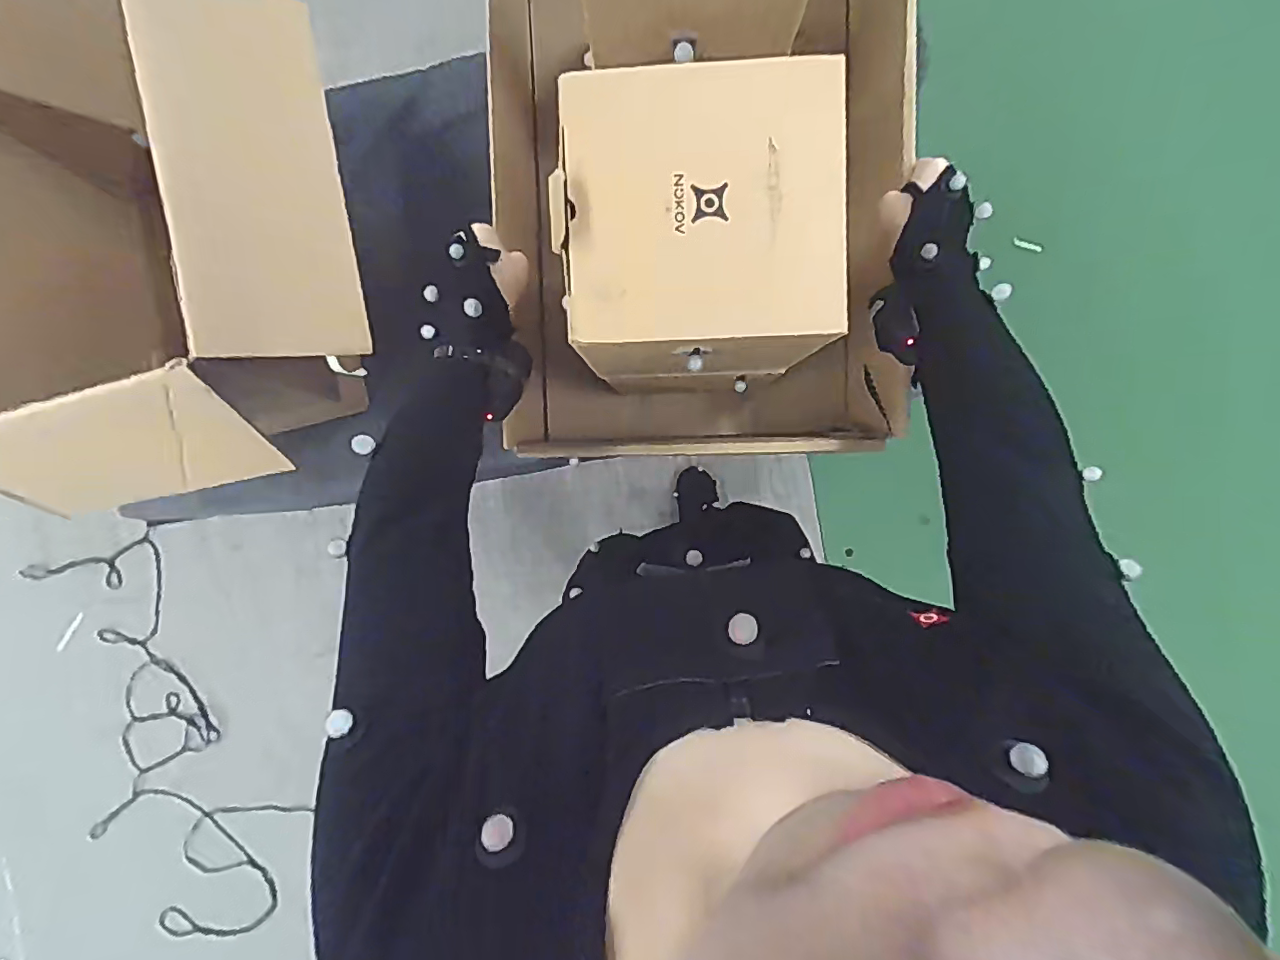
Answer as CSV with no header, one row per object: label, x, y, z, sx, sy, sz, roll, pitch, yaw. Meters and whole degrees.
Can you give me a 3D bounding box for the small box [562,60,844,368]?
small box,0.043,-0.180,0.419,0.179,0.176,0.168,-2,96,1
